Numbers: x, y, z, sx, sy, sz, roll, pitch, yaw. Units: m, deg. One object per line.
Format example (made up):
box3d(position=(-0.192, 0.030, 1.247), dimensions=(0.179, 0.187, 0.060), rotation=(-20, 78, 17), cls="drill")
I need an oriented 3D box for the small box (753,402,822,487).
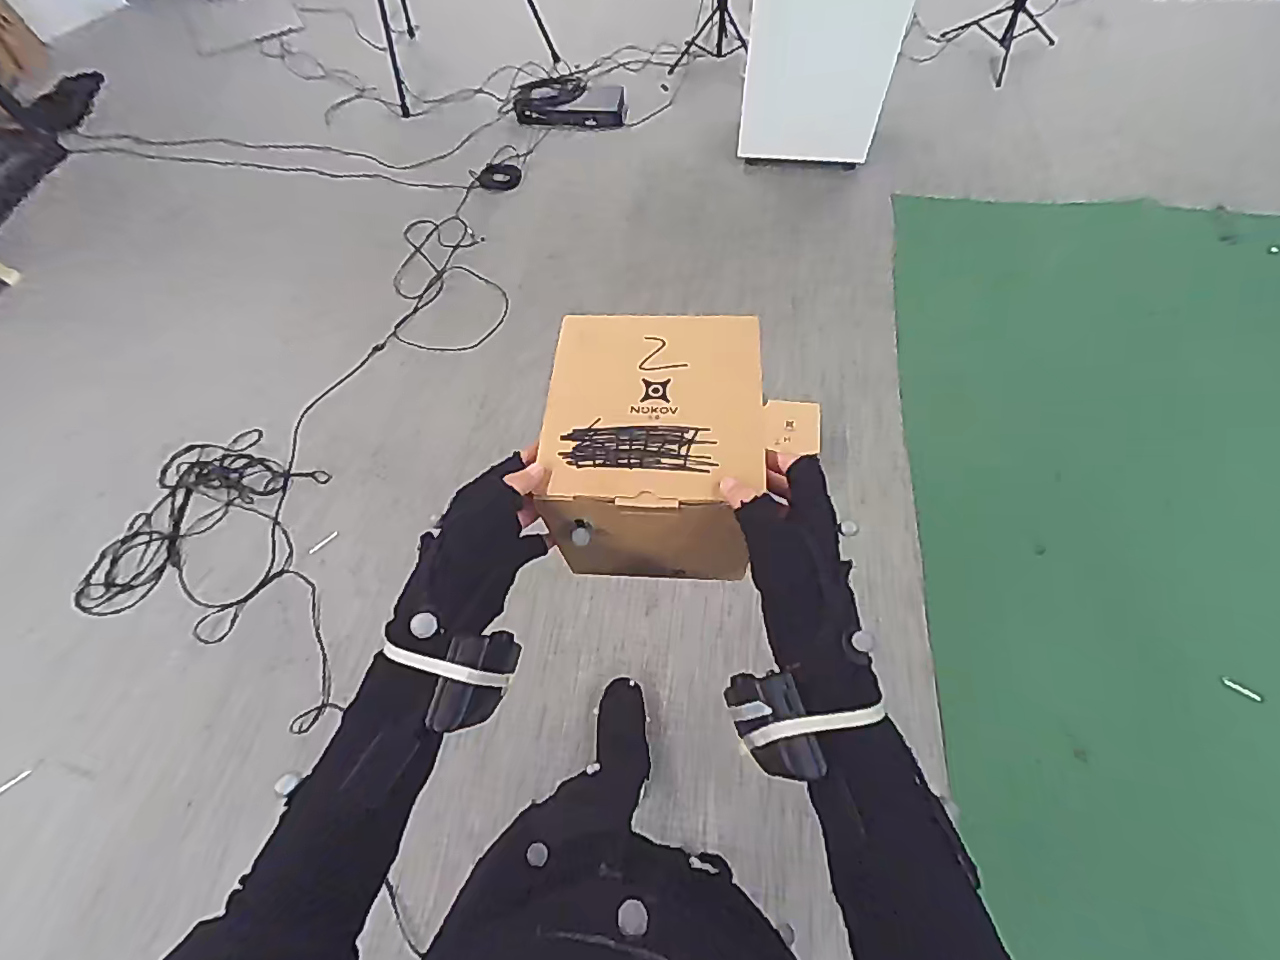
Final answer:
box3d(position=(0.419, -0.100, 1.553), dimensions=(0.168, 0.176, 0.179), rotation=(6, 63, 8), cls="small box")
